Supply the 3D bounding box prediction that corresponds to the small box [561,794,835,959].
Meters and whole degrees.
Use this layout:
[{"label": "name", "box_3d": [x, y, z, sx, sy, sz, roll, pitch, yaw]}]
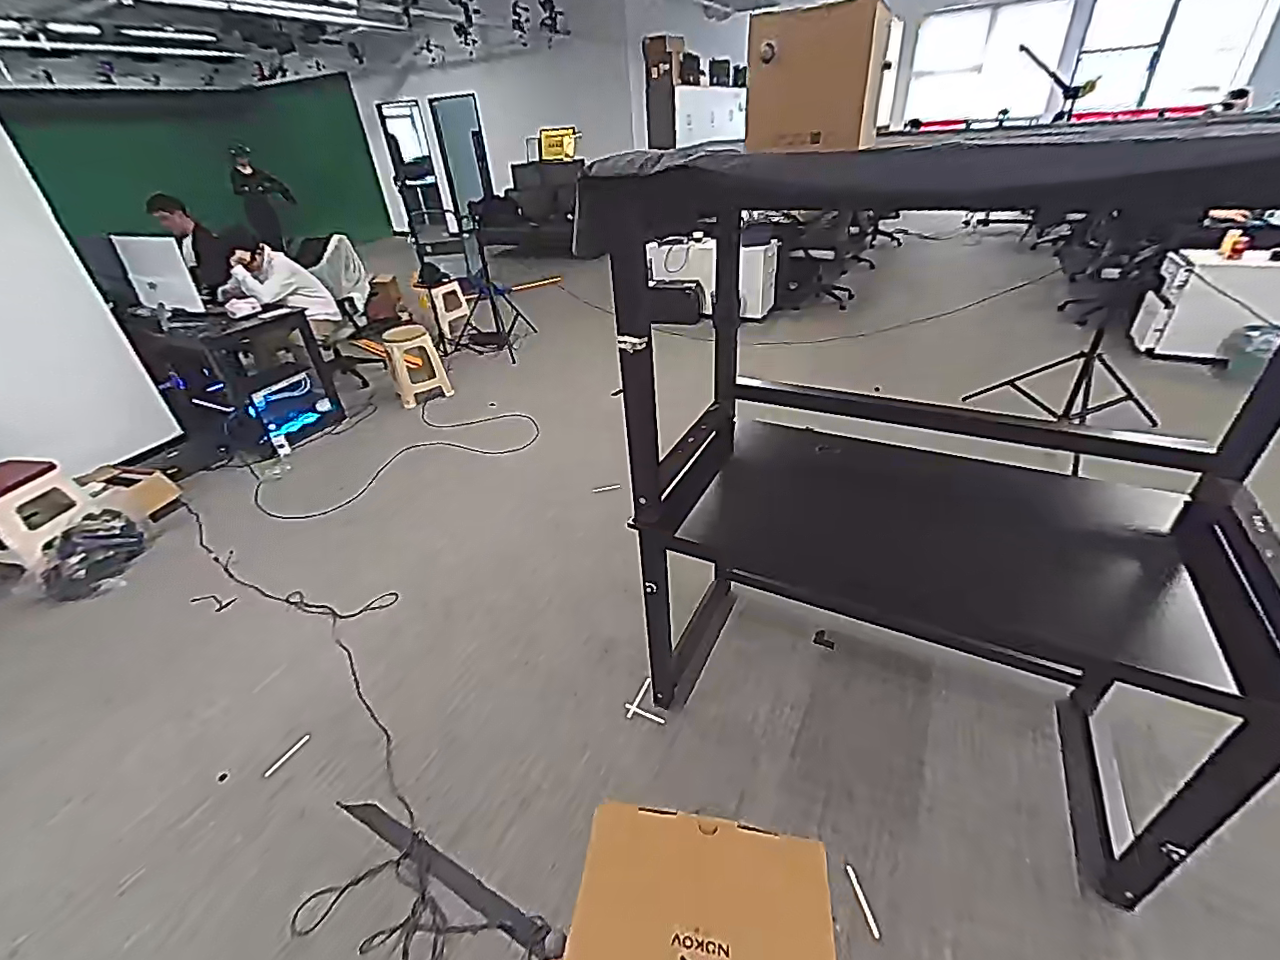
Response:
[{"label": "small box", "box_3d": [0.034, 0.356, 0.367, 0.168, 0.176, 0.179, 6, 33, 7]}]
